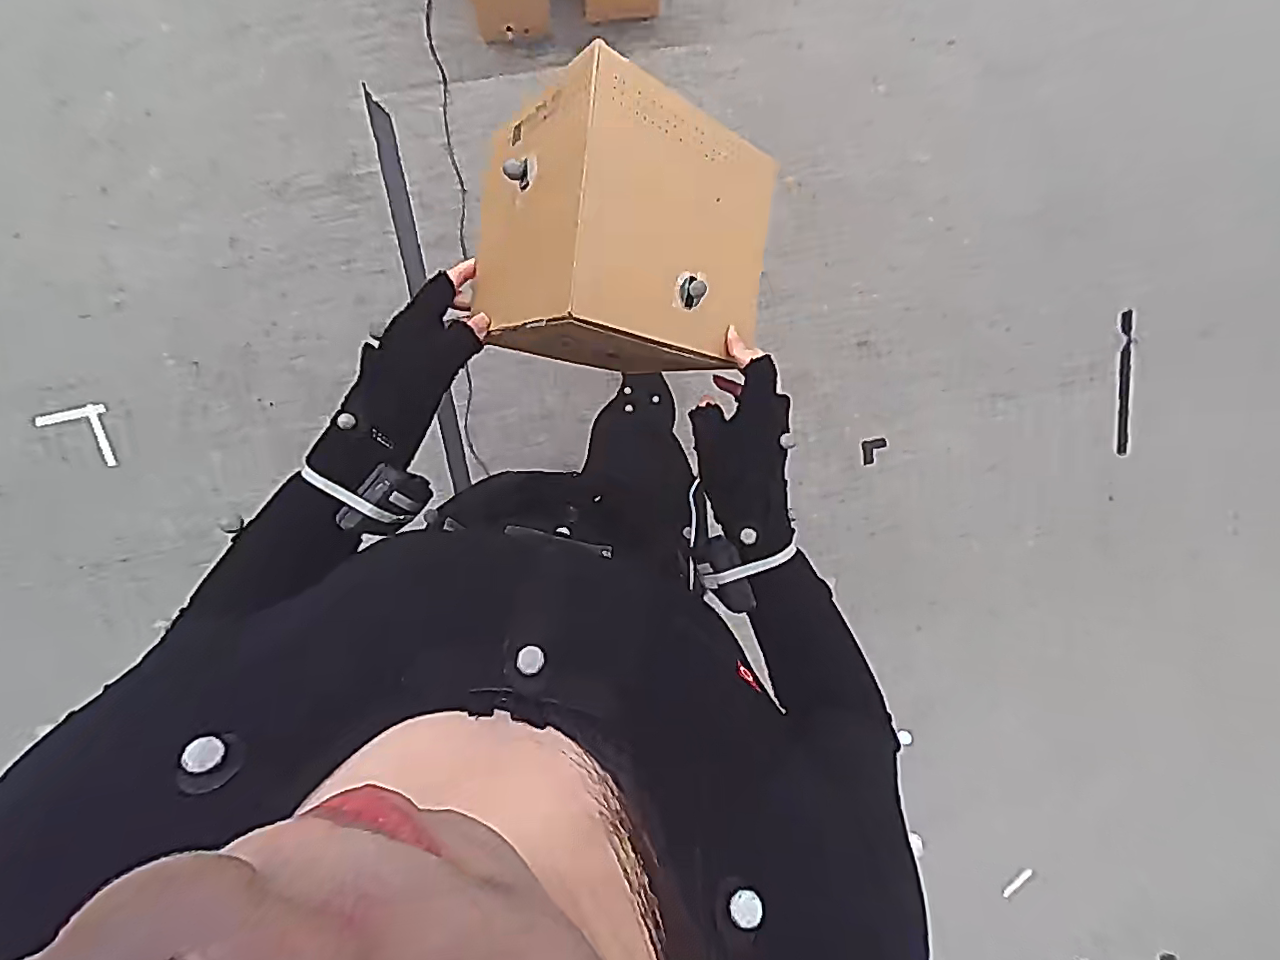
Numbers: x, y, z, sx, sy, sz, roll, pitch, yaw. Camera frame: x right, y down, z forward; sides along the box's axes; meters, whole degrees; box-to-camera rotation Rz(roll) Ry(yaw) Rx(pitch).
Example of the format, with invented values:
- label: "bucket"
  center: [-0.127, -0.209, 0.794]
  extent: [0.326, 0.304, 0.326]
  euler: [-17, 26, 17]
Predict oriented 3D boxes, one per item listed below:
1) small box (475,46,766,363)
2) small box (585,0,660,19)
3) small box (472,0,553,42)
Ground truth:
- label: "small box"
  center: [-0.016, -0.198, 0.446]
  extent: [0.179, 0.168, 0.176]
  euler: [3, 94, -39]
- label: "small box"
  center: [-0.042, -1.147, 1.172]
  extent: [0.179, 0.176, 0.168]
  euler: [-8, 101, -3]
- label: "small box"
  center: [-0.288, -1.099, 1.165]
  extent: [0.168, 0.176, 0.179]
  euler: [-9, 102, -1]
